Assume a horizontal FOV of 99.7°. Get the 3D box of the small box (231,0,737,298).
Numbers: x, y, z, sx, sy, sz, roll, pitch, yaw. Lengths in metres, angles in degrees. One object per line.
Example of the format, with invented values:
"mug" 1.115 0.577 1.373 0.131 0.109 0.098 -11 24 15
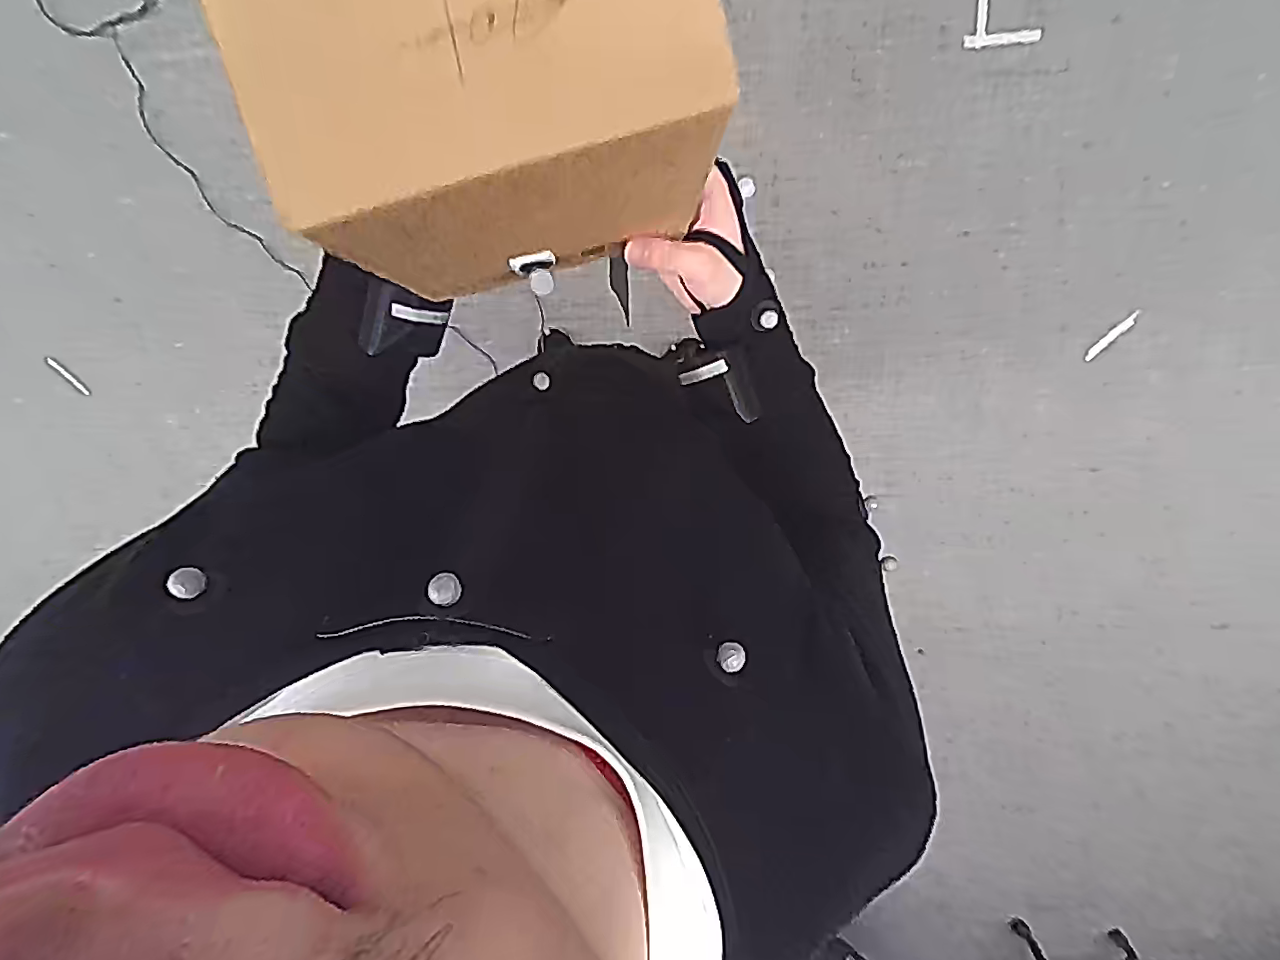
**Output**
"small box" -0.067 -0.208 0.263 0.168 0.176 0.179 -16 99 1
